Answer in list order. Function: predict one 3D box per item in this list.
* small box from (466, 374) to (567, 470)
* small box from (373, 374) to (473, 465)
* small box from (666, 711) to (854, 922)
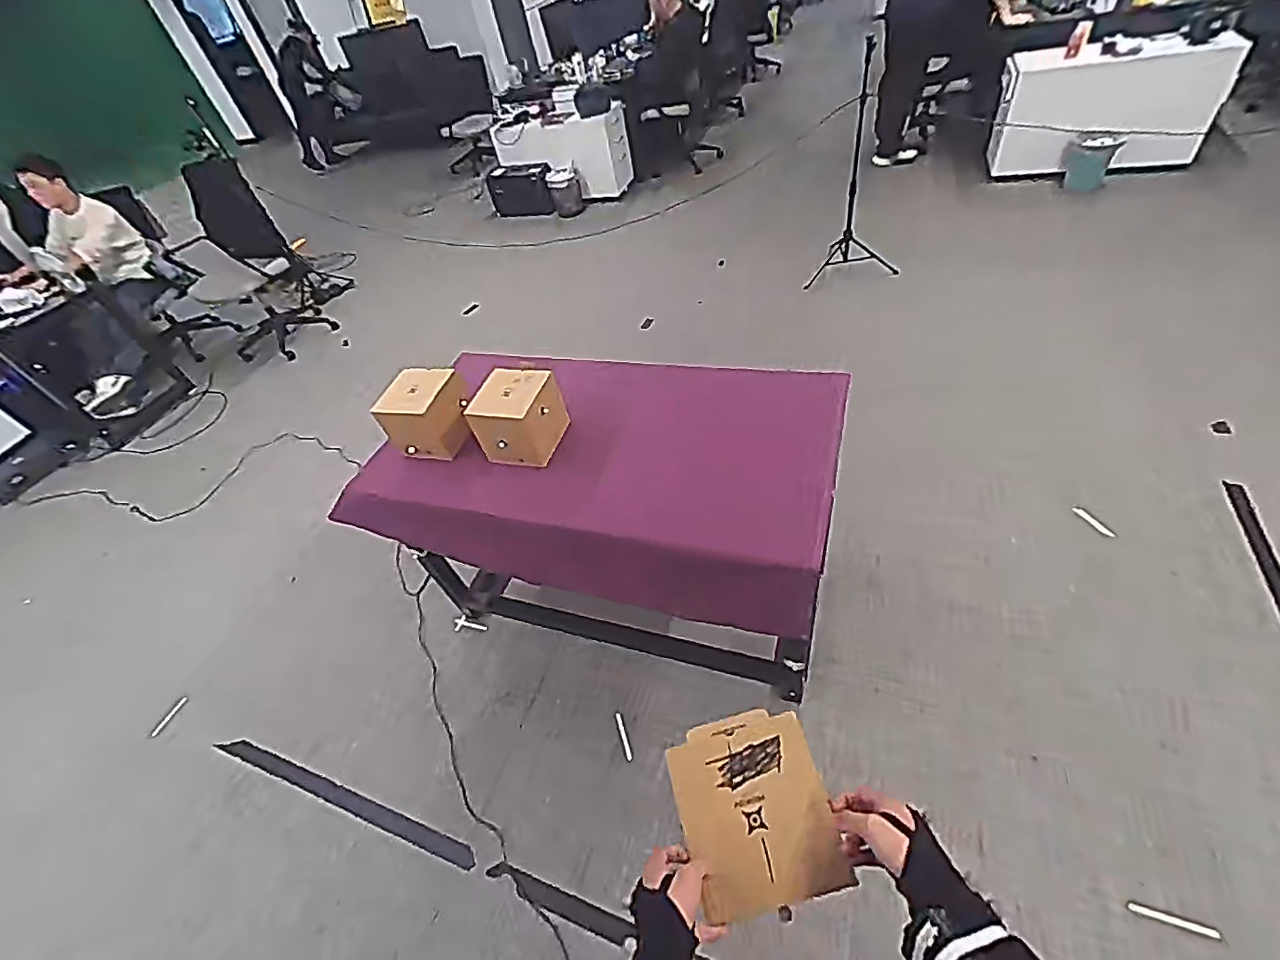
[{"bbox_3d":[-0.301,-0.146,1.368,0.168,0.176,0.179,7,50,19],"label":"small box"},{"bbox_3d":[-0.564,-0.163,1.449,0.168,0.176,0.179,4,49,18],"label":"small box"},{"bbox_3d":[0.145,0.419,0.677,0.168,0.176,0.179,-20,53,3],"label":"small box"}]
